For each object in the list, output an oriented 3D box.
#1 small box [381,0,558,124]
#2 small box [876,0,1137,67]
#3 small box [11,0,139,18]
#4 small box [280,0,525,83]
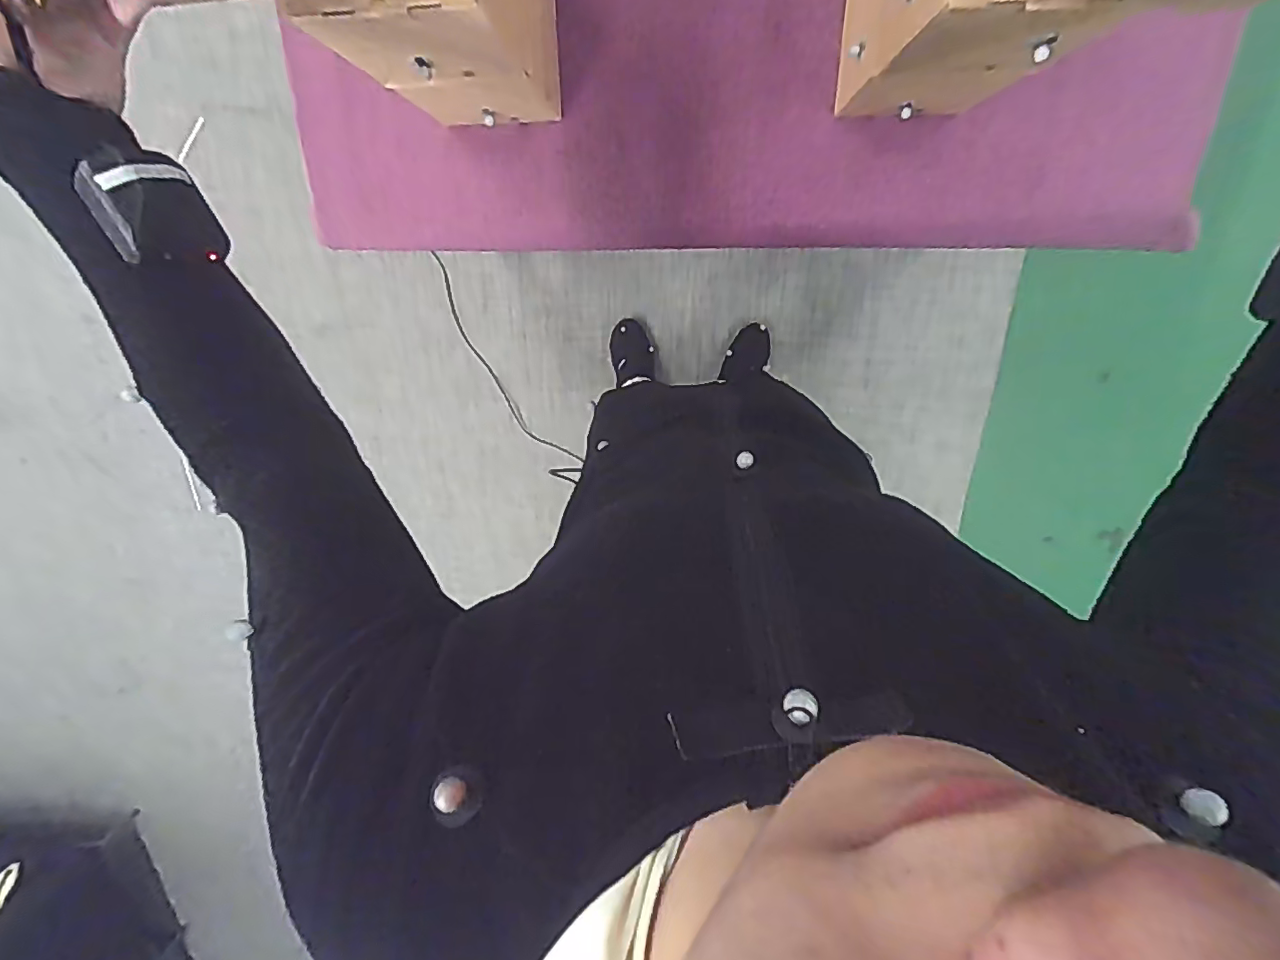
[{"bbox_3d":[-0.198,-0.548,0.641,0.168,0.176,0.179,1,110,5],"label":"small box"},{"bbox_3d":[0.311,-0.469,0.447,0.168,0.176,0.179,1,110,4],"label":"small box"},{"bbox_3d":[-0.296,-0.388,0.287,0.179,0.176,0.168,10,136,38],"label":"small box"},{"bbox_3d":[-0.212,-0.493,0.489,0.168,0.176,0.179,0,111,5],"label":"small box"}]
